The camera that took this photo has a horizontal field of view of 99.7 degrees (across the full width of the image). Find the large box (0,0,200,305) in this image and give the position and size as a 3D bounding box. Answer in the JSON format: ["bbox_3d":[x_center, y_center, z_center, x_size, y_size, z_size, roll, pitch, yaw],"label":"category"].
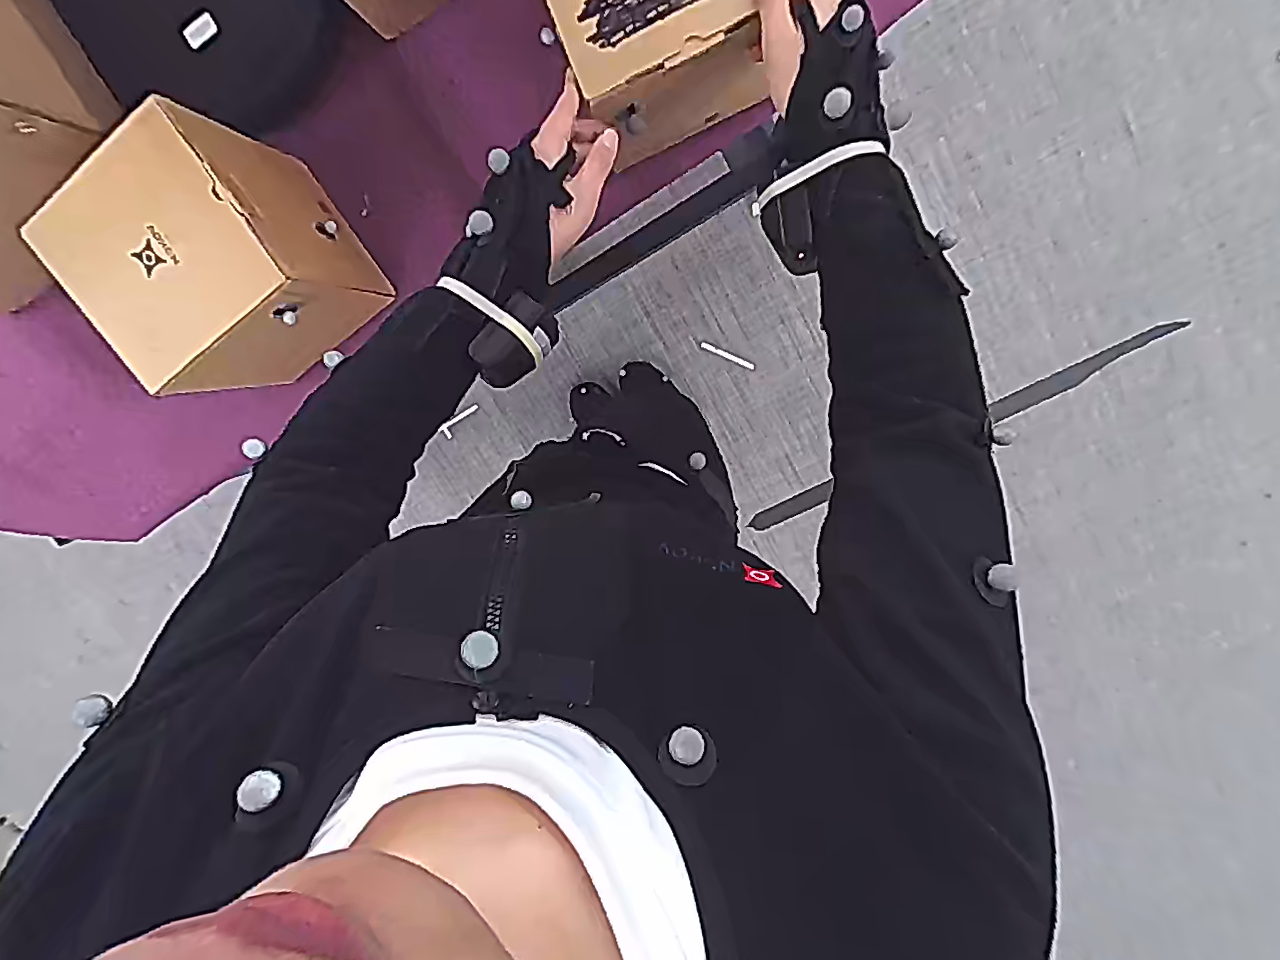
[{"bbox_3d":[-0.710,-0.399,0.432,0.320,0.320,0.408,-29,103,12],"label":"large box"}]
